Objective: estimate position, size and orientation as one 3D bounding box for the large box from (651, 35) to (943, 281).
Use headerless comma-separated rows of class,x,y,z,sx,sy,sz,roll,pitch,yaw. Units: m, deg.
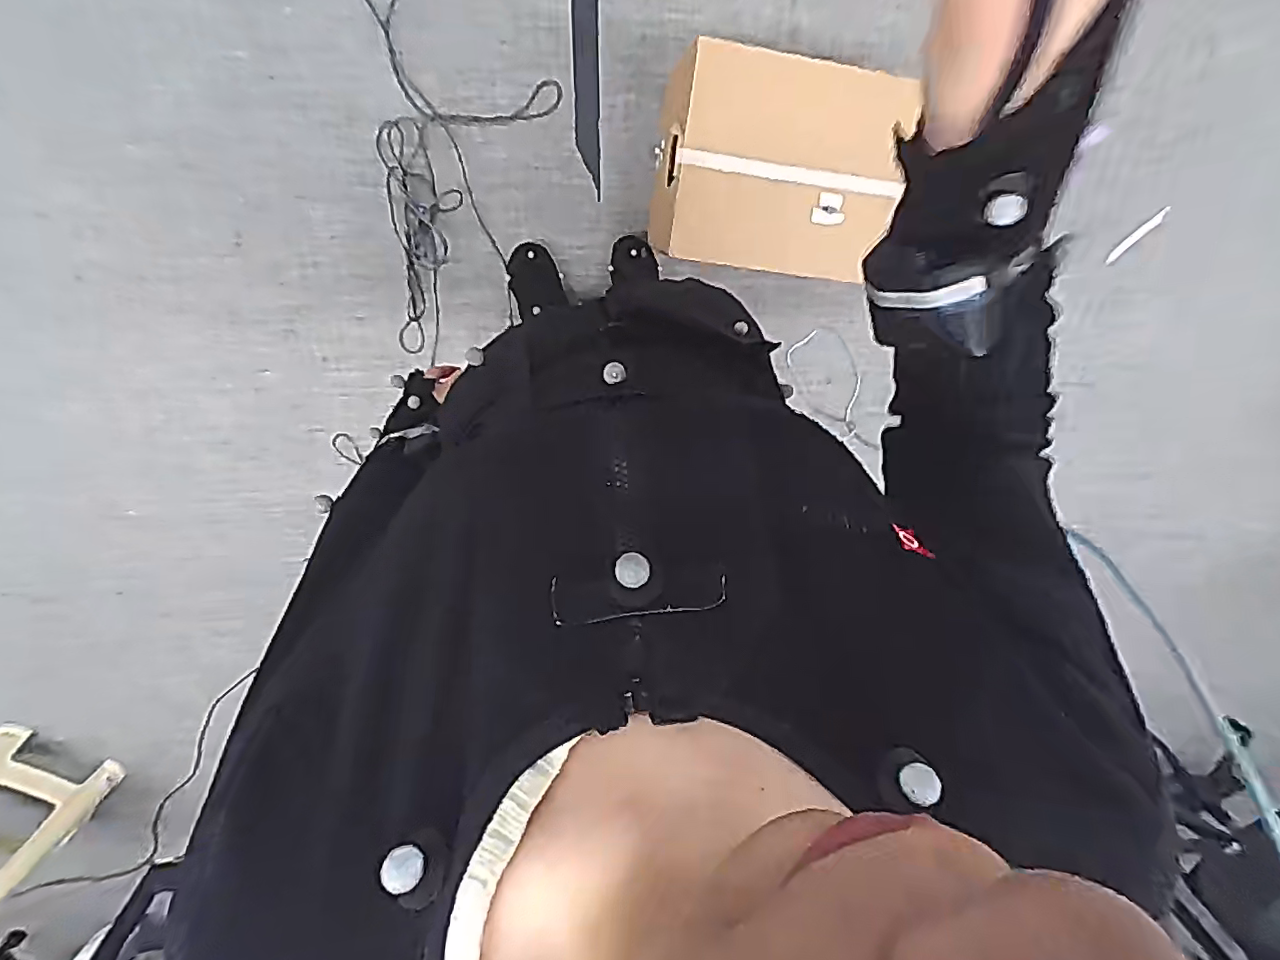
large box,0.250,-0.572,1.020,0.408,0.320,0.320,4,116,-9
